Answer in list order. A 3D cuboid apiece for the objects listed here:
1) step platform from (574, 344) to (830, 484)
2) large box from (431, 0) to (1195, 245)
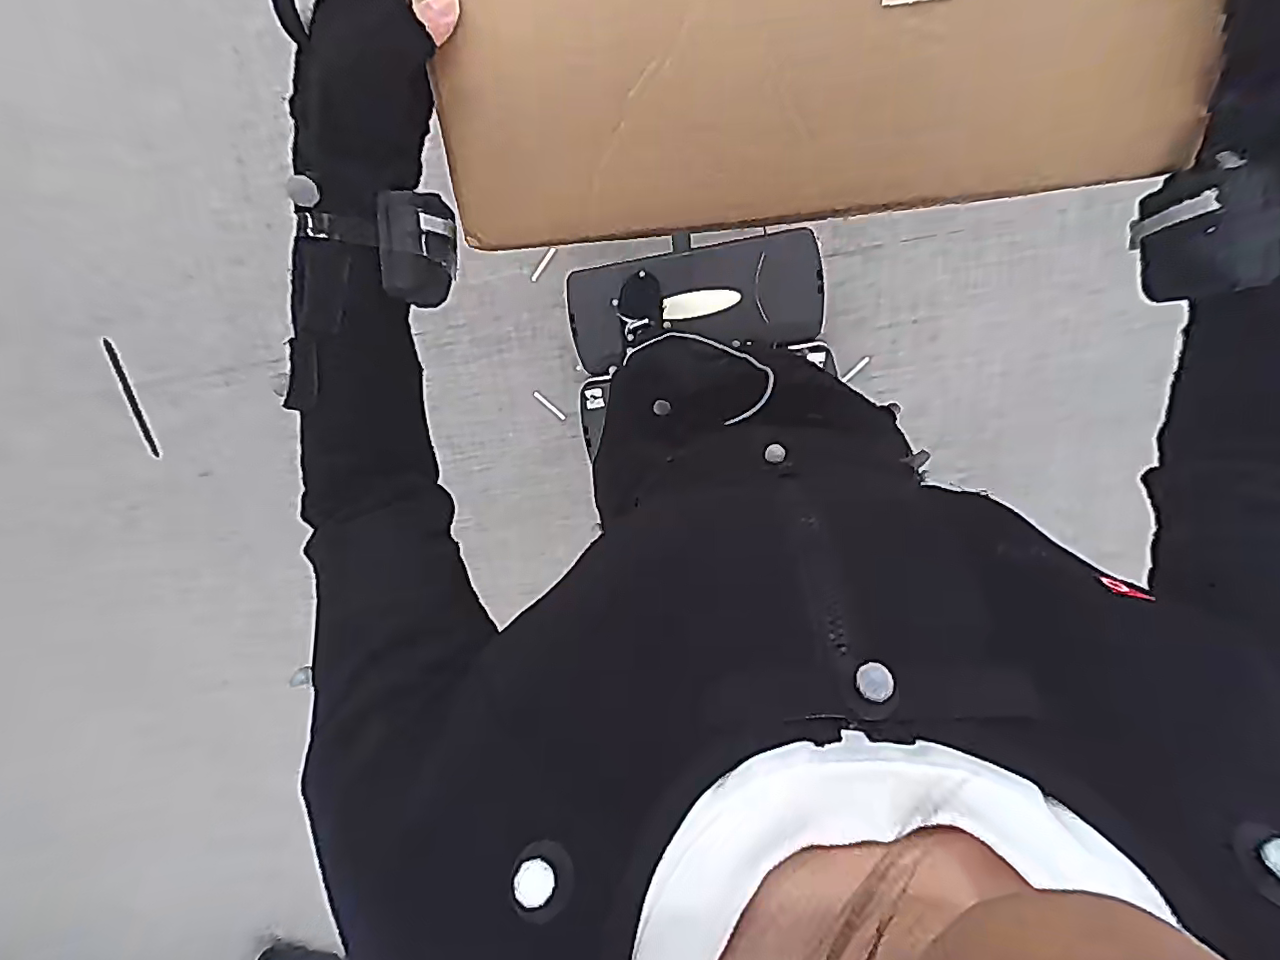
[{"bbox_3d":[0.165,-0.177,1.494,0.684,0.204,0.286,-8,105,11],"label":"step platform"},{"bbox_3d":[0.088,-0.368,0.403,0.408,0.320,0.320,-3,115,8],"label":"large box"}]
